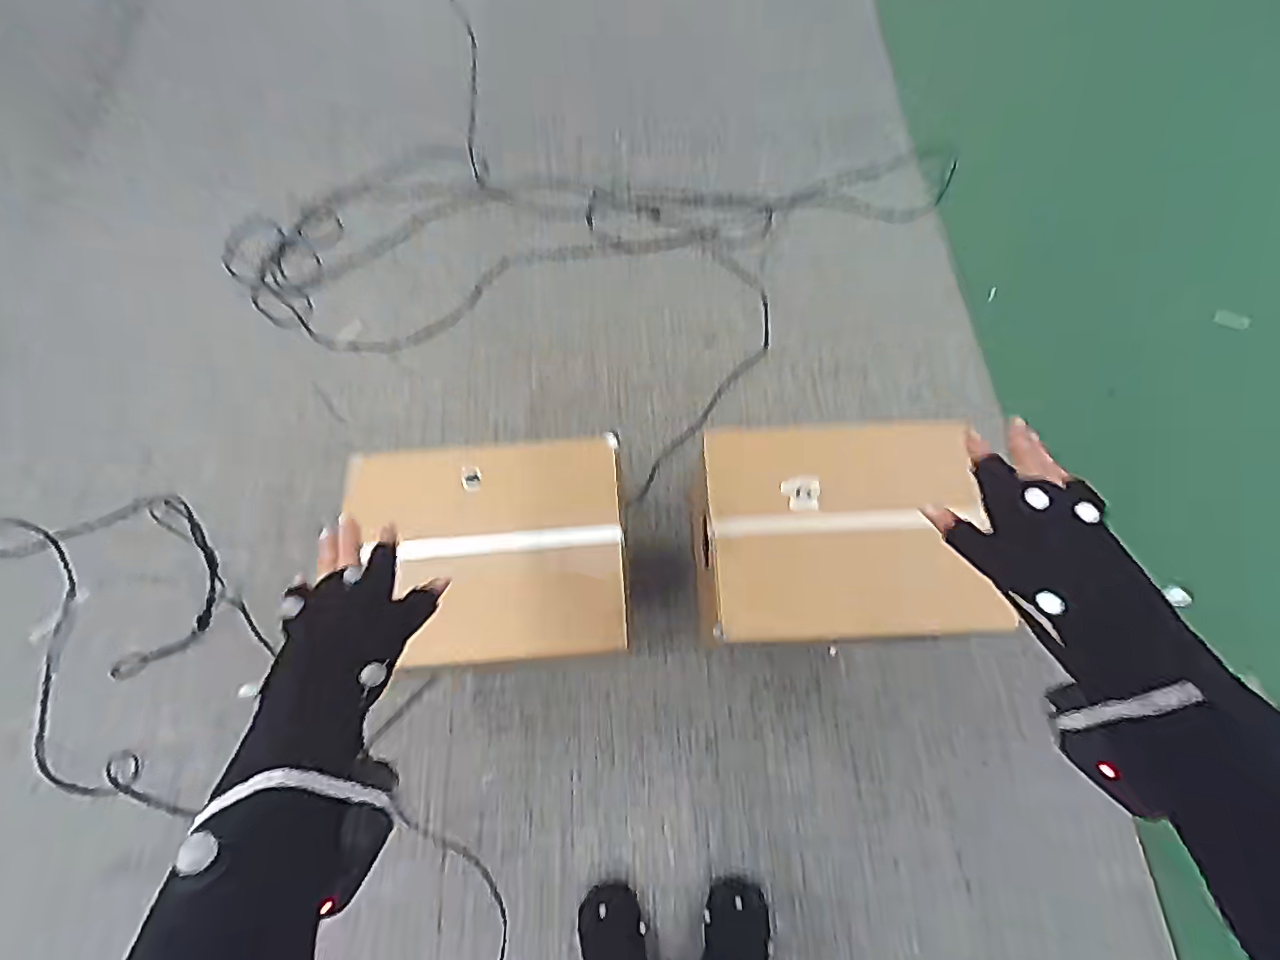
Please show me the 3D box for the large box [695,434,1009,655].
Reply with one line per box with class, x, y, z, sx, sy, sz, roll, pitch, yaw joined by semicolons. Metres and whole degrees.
large box;0.315;0.132;0.941;0.408;0.320;0.320;-2;69;1
